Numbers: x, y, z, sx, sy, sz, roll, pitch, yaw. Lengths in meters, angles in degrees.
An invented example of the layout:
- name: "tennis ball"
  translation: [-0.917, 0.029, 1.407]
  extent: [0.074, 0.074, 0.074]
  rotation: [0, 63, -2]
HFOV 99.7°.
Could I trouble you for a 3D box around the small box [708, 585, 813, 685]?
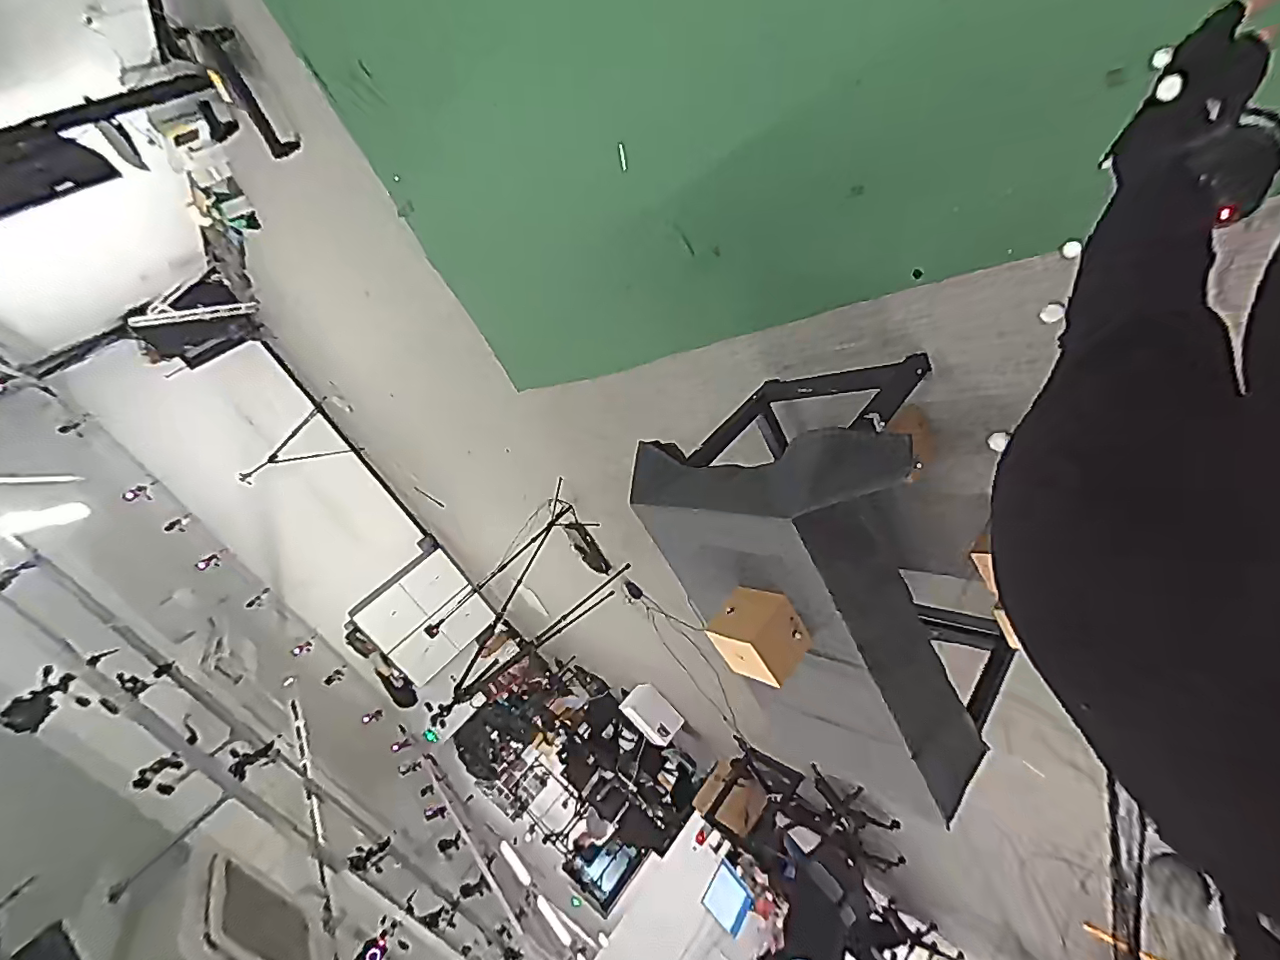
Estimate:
- name: "small box"
  translation: [0.319, 0.399, 1.425]
  extent: [0.179, 0.176, 0.168]
  rotation: [-2, 127, 56]
